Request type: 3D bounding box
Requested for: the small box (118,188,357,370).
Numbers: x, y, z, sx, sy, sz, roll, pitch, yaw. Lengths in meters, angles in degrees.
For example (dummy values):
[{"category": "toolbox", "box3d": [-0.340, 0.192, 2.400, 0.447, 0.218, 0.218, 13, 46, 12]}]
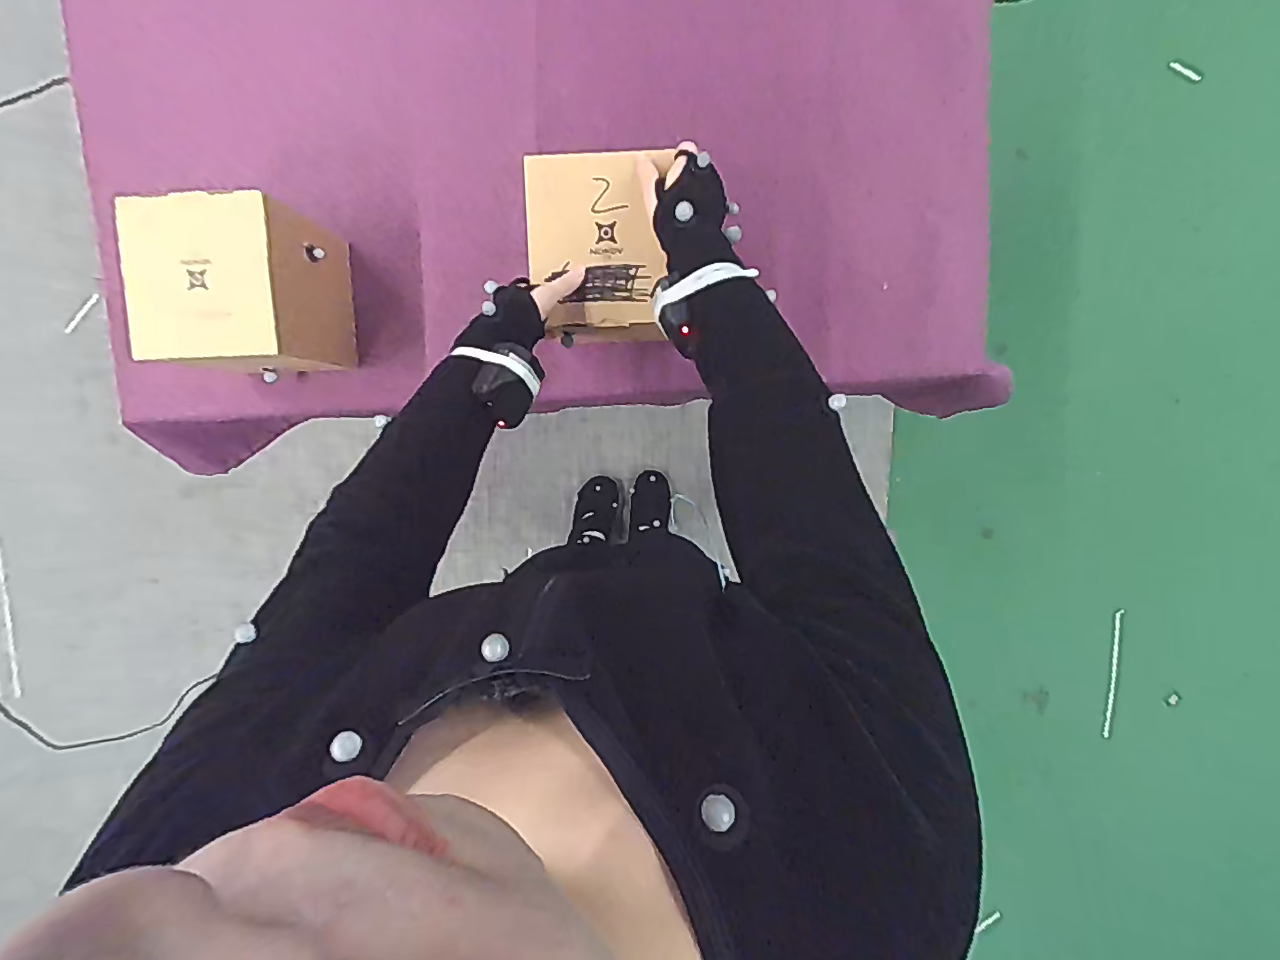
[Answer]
[{"category": "small box", "box3d": [-0.477, -0.234, 0.669, 0.168, 0.176, 0.179, -1, 97, 2]}]
